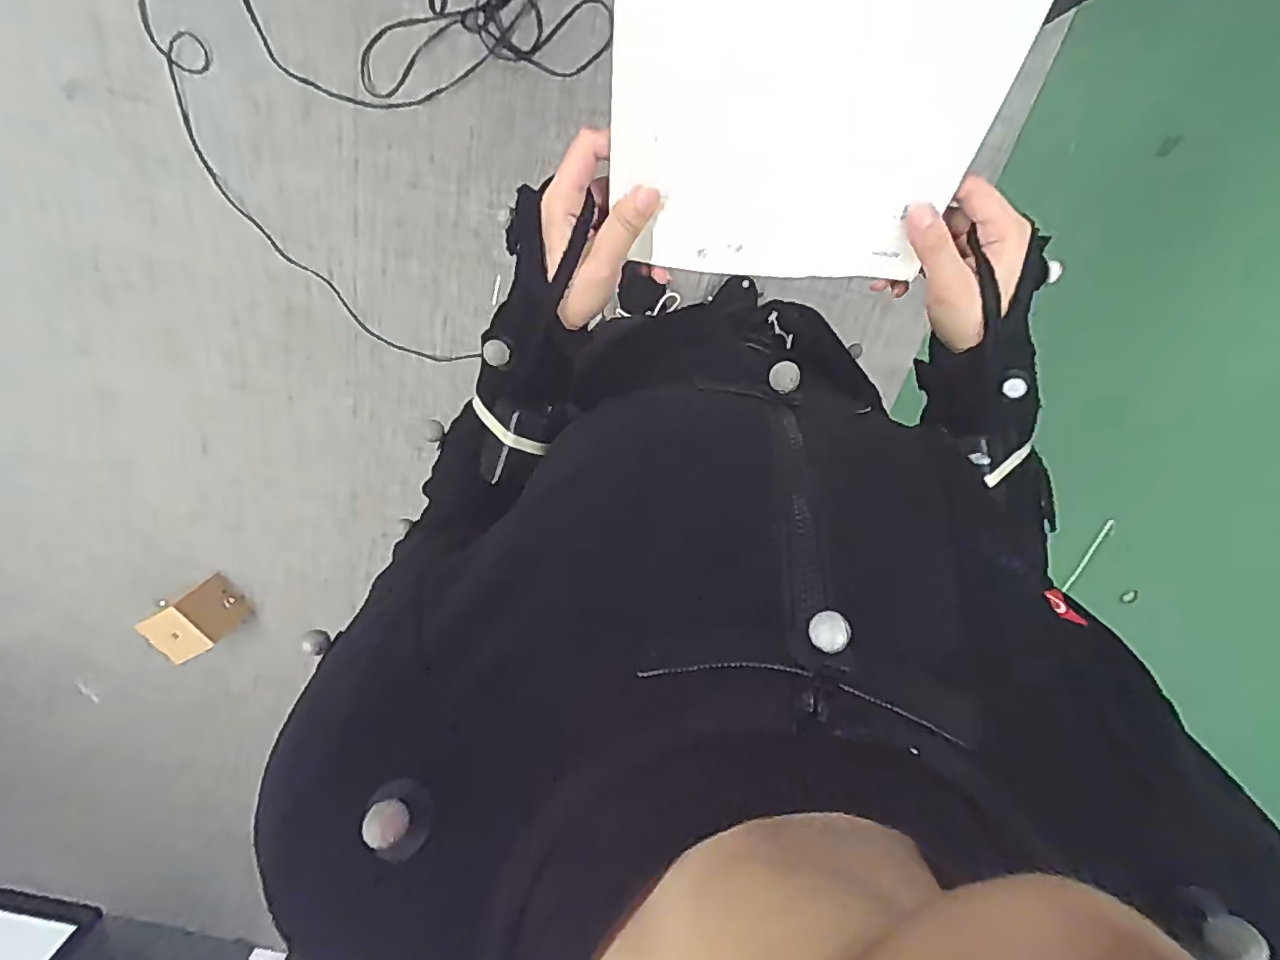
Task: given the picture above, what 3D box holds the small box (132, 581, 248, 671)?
[{"bbox_3d":[-1.351,0.438,1.638,0.179,0.176,0.168,-27,111,14],"label":"small box"}]
